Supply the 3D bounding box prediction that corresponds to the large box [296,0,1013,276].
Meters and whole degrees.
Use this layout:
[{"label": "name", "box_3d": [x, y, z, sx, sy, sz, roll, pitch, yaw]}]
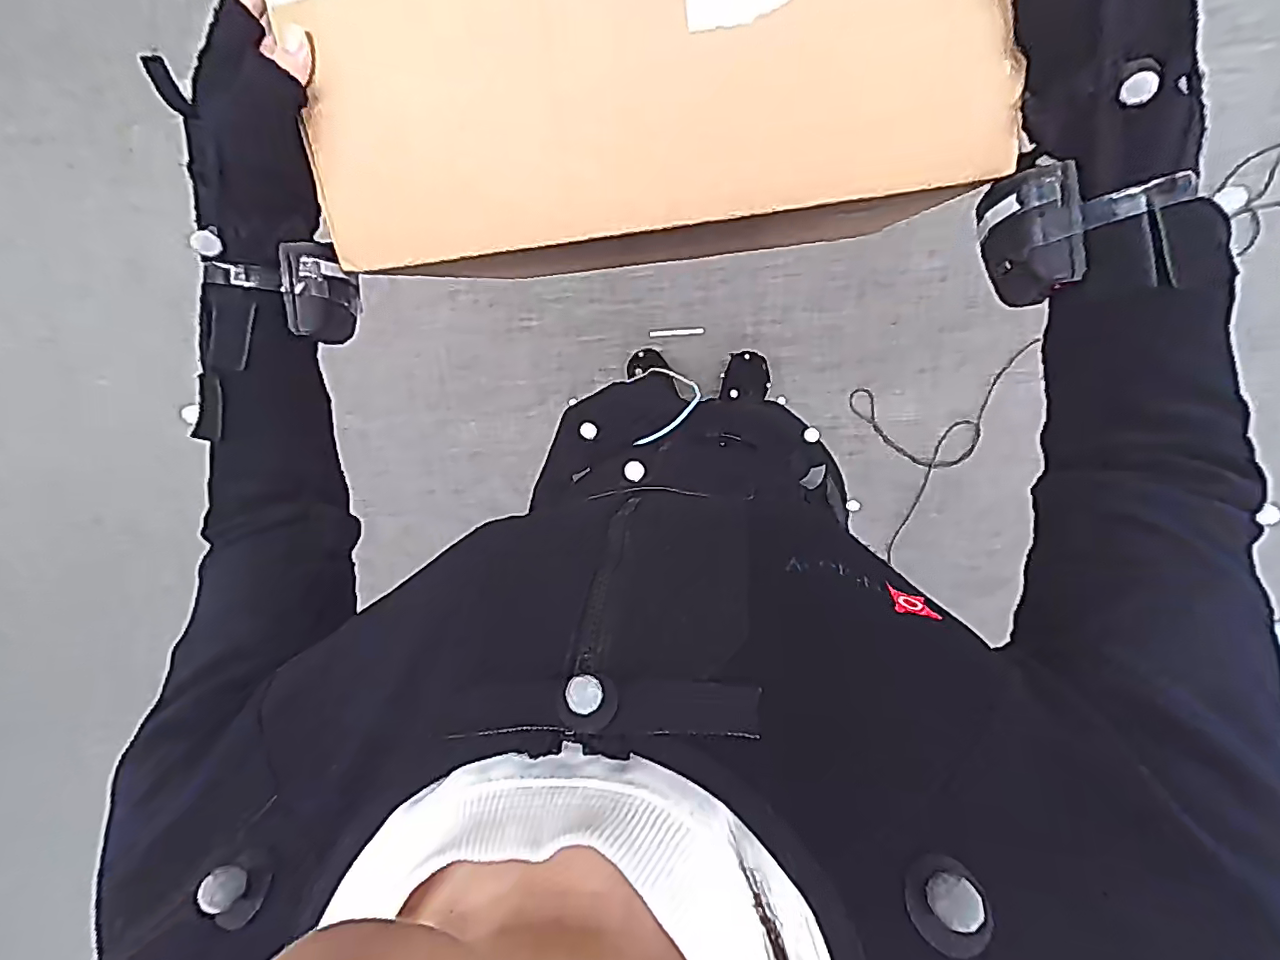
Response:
[{"label": "large box", "box_3d": [0.008, -0.356, 0.426, 0.408, 0.320, 0.320, -4, 109, 11]}]
